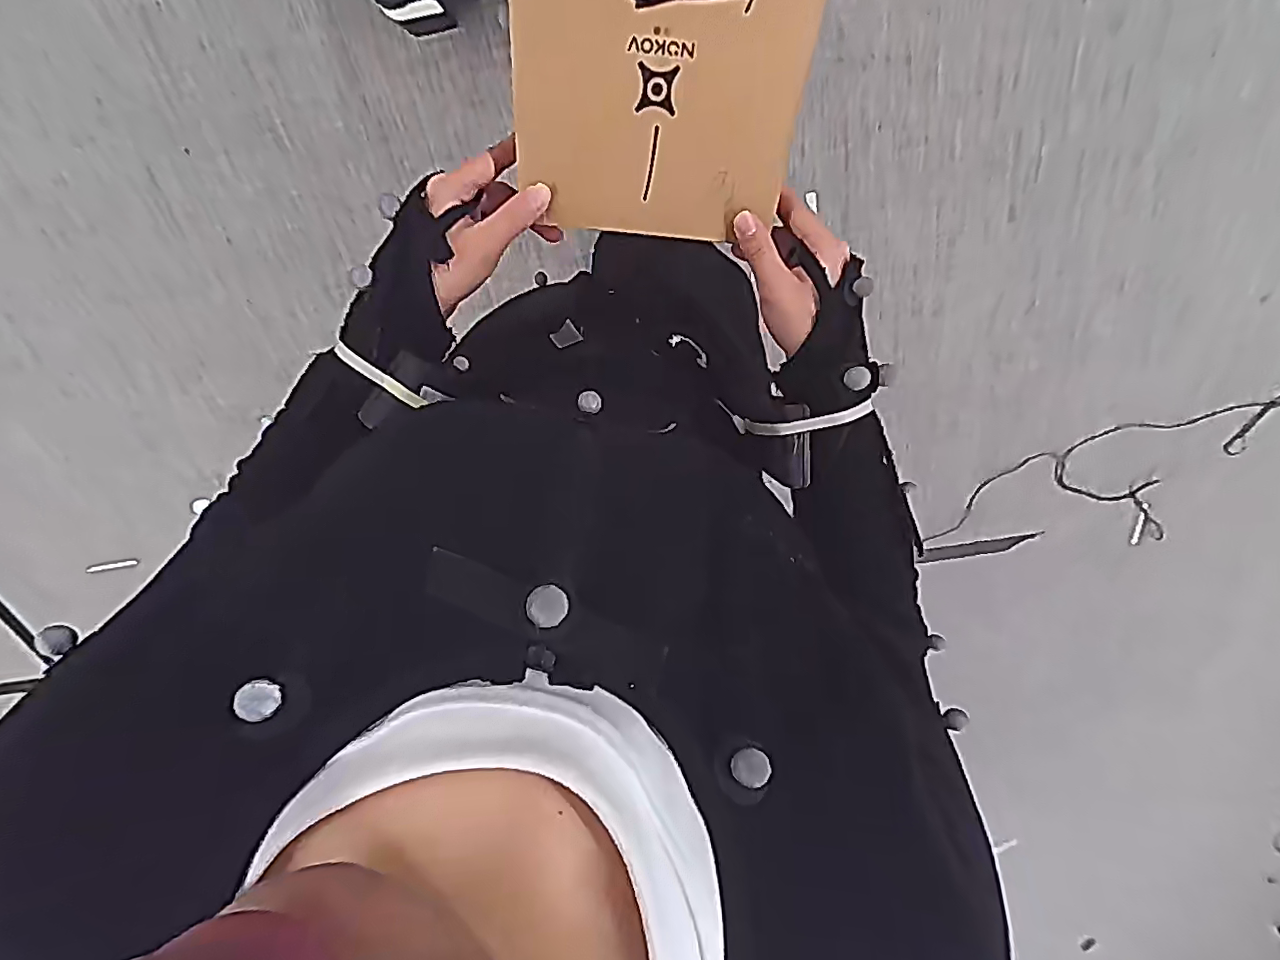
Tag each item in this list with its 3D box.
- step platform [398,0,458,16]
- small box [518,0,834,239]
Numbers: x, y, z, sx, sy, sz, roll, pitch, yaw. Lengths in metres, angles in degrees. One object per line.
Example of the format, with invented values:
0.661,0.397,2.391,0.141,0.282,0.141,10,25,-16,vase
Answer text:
-0.121,-0.974,0.823,0.684,0.204,0.286,-9,117,4,step platform
0.015,-0.282,0.354,0.168,0.176,0.179,4,132,-4,small box
